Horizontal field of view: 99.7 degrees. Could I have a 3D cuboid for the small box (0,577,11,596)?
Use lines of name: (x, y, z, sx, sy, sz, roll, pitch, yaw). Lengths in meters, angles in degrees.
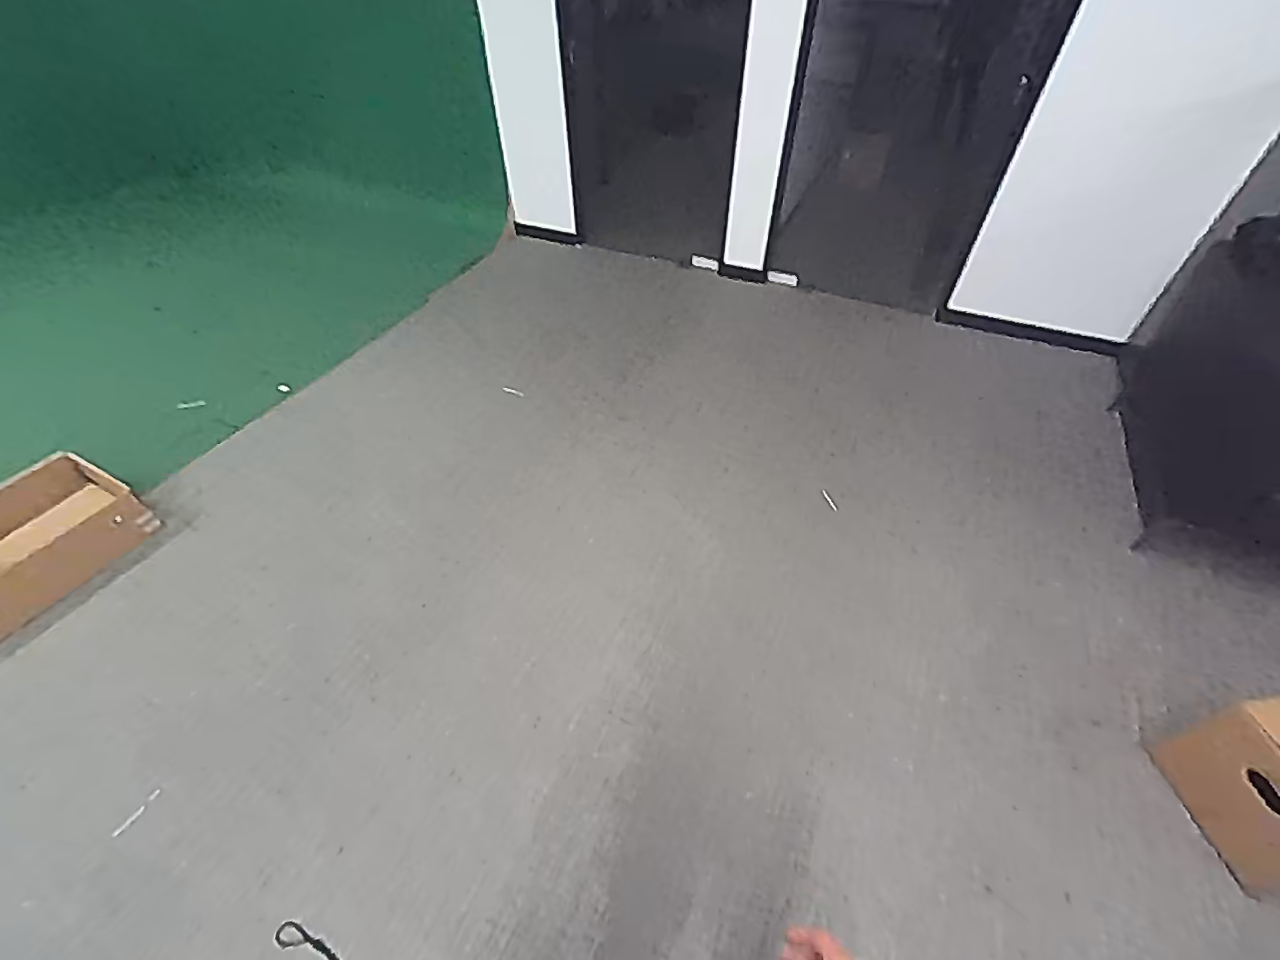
small box: (-2.026, 0.301, 1.566, 0.168, 0.176, 0.179, 21, 49, 17)
